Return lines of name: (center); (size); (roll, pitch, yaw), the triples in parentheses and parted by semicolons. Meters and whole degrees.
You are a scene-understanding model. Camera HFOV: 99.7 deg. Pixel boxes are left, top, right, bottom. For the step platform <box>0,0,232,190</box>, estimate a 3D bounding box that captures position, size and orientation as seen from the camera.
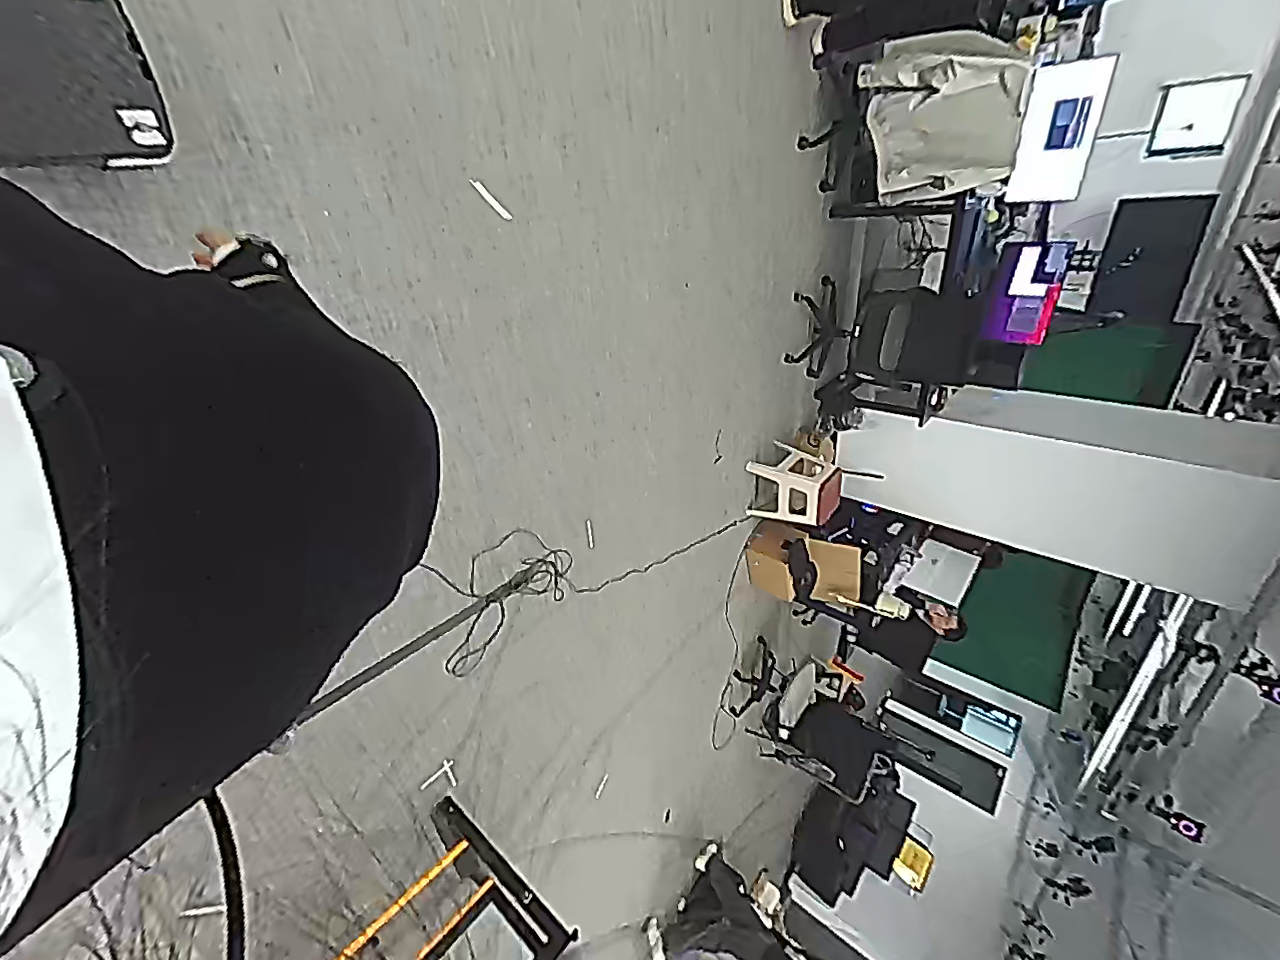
step platform: (-0.925, -0.498, 0.634); (0.684, 0.204, 0.286); (-34, 129, -39)
